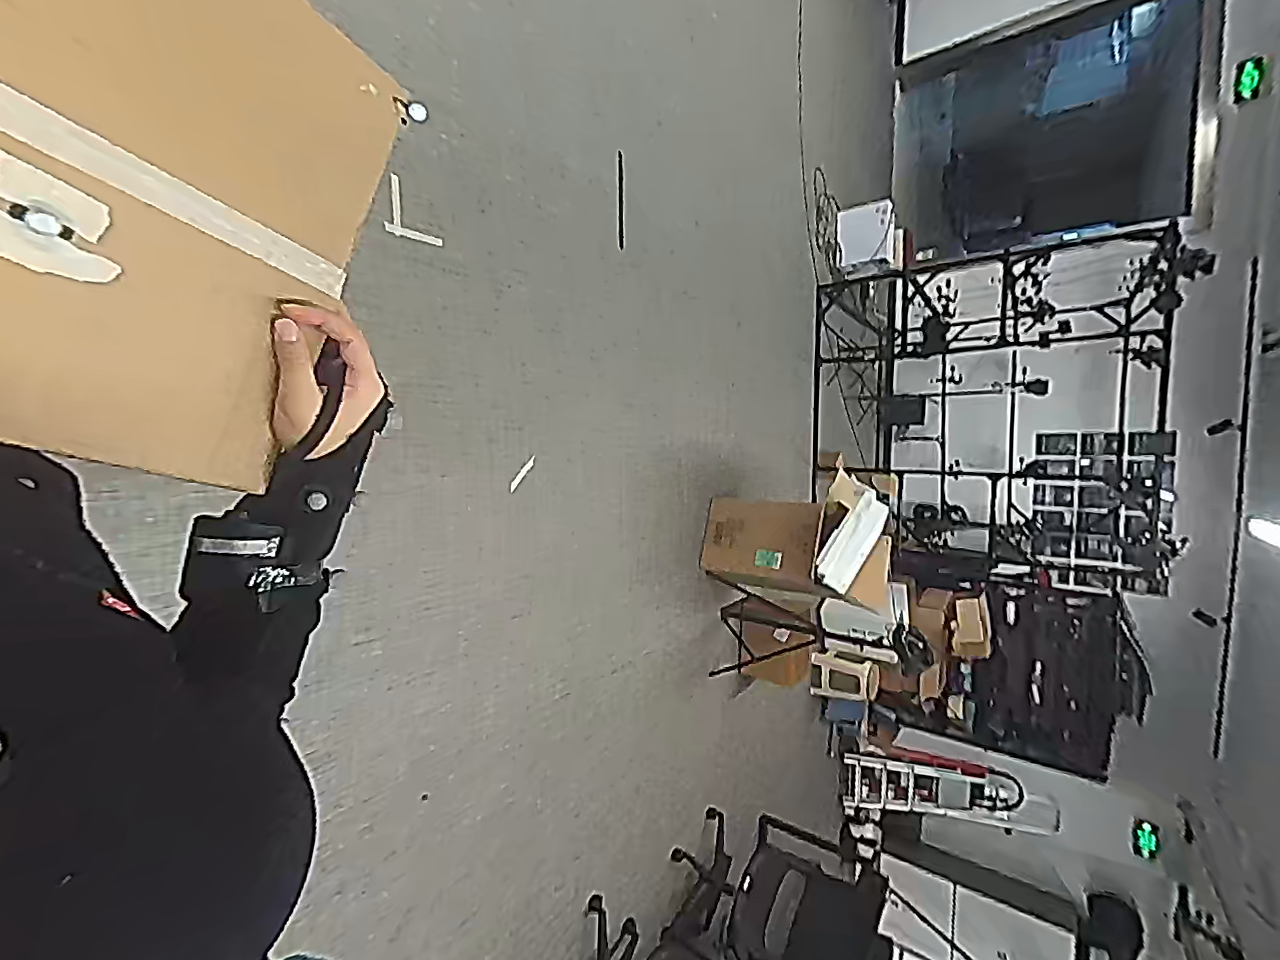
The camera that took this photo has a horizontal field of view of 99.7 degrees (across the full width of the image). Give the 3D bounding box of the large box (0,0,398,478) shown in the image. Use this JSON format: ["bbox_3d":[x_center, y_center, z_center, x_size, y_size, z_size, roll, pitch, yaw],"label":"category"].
[{"bbox_3d":[-0.451,-0.212,0.332,0.408,0.320,0.320,22,83,-52],"label":"large box"}]
